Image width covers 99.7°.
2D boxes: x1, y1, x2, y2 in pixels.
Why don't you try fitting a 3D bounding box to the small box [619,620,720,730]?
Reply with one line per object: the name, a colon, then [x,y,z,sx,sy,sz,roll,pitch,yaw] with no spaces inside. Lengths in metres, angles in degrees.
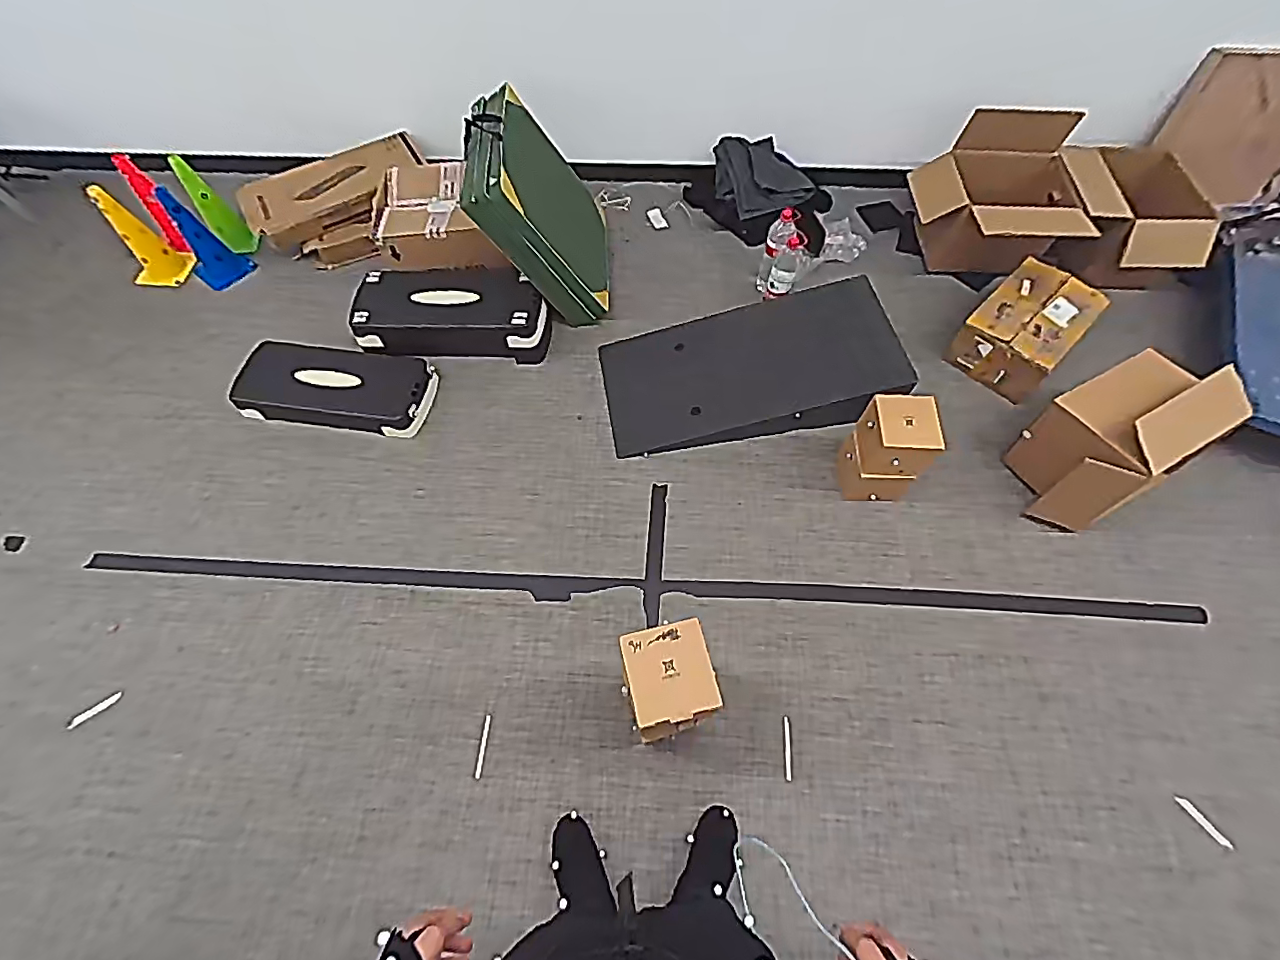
small box: [0.057,0.408,1.118,0.168,0.176,0.179,-12,63,-6]
